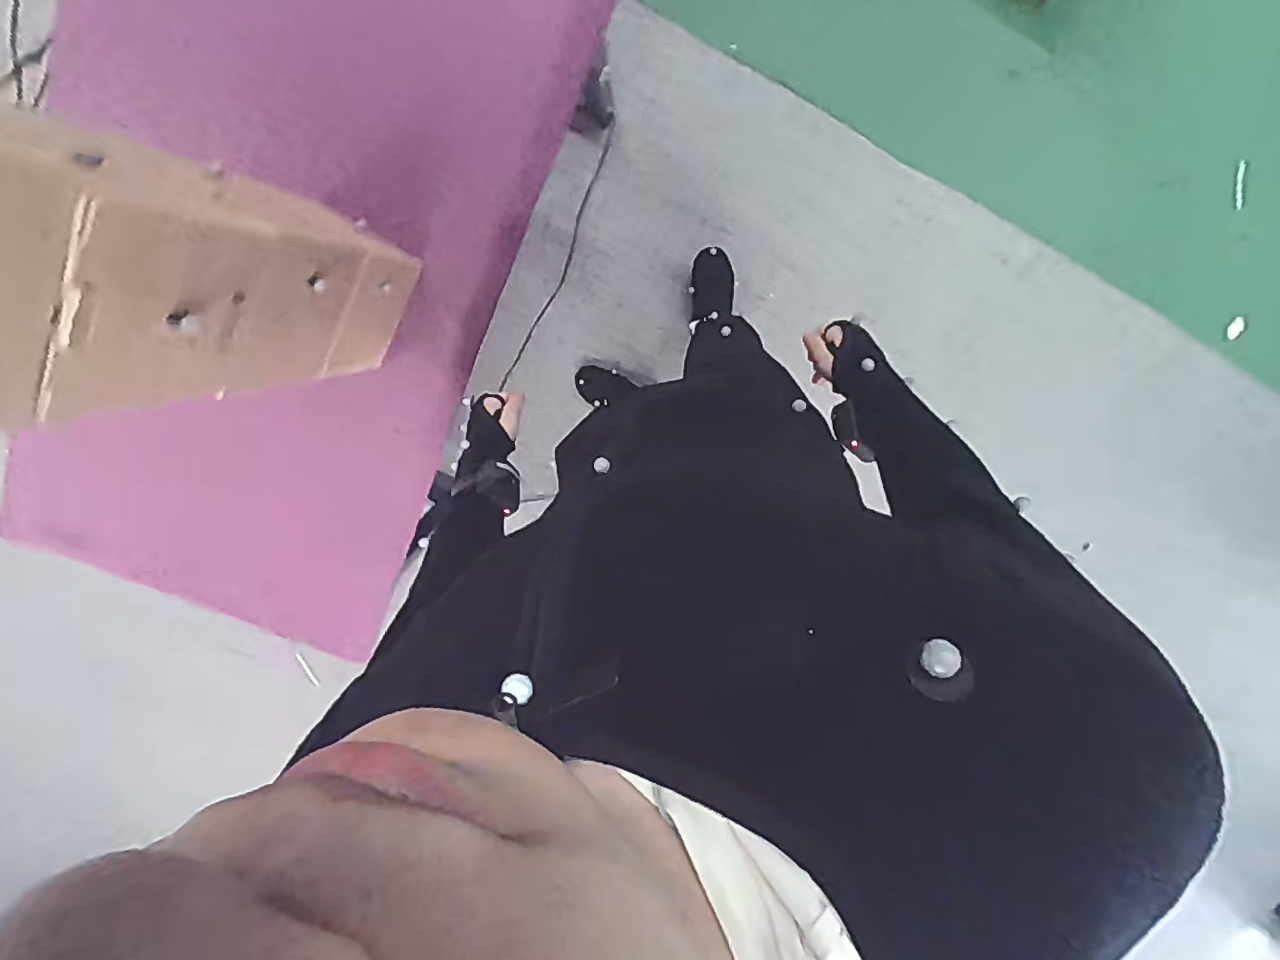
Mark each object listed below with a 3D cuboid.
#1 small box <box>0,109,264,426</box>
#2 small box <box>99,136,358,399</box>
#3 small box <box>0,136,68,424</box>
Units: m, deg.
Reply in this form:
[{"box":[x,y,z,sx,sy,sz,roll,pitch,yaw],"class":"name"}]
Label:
[{"box":[-0.441,-0.167,0.416,0.179,0.176,0.168,28,105,-8],"class":"small box"},{"box":[-0.434,-0.211,0.573,0.168,0.176,0.179,28,105,-8],"class":"small box"},{"box":[-0.445,-0.120,0.258,0.168,0.176,0.179,27,105,-7],"class":"small box"}]
